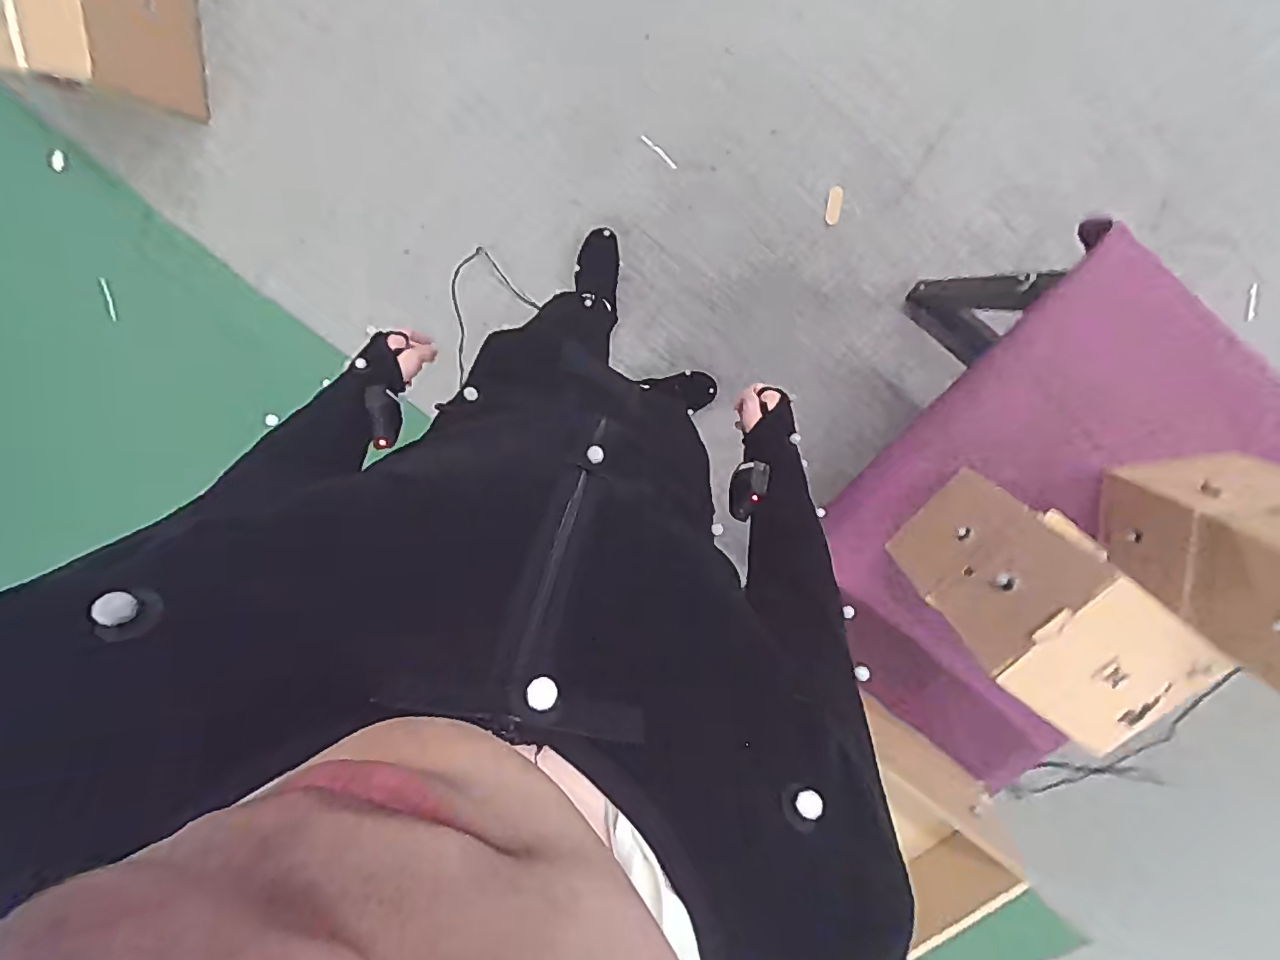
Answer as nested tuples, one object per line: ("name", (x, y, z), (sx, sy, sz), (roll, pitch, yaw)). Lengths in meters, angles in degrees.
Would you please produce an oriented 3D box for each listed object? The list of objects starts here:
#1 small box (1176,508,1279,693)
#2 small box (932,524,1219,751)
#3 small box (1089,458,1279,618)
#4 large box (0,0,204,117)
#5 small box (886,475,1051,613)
("small box", (0.778, 0.135, 0.620), (0.168, 0.176, 0.179), (-7, 108, 9))
("small box", (0.501, 0.175, 0.657), (0.179, 0.176, 0.168), (36, 109, -8))
("small box", (0.792, 0.076, 0.772), (0.179, 0.176, 0.168), (-7, 109, 8))
("large box", (-1.301, -1.129, 1.246), (0.320, 0.320, 0.408), (9, 110, 3))
("small box", (0.509, 0.119, 0.810), (0.168, 0.176, 0.179), (35, 108, -8))
